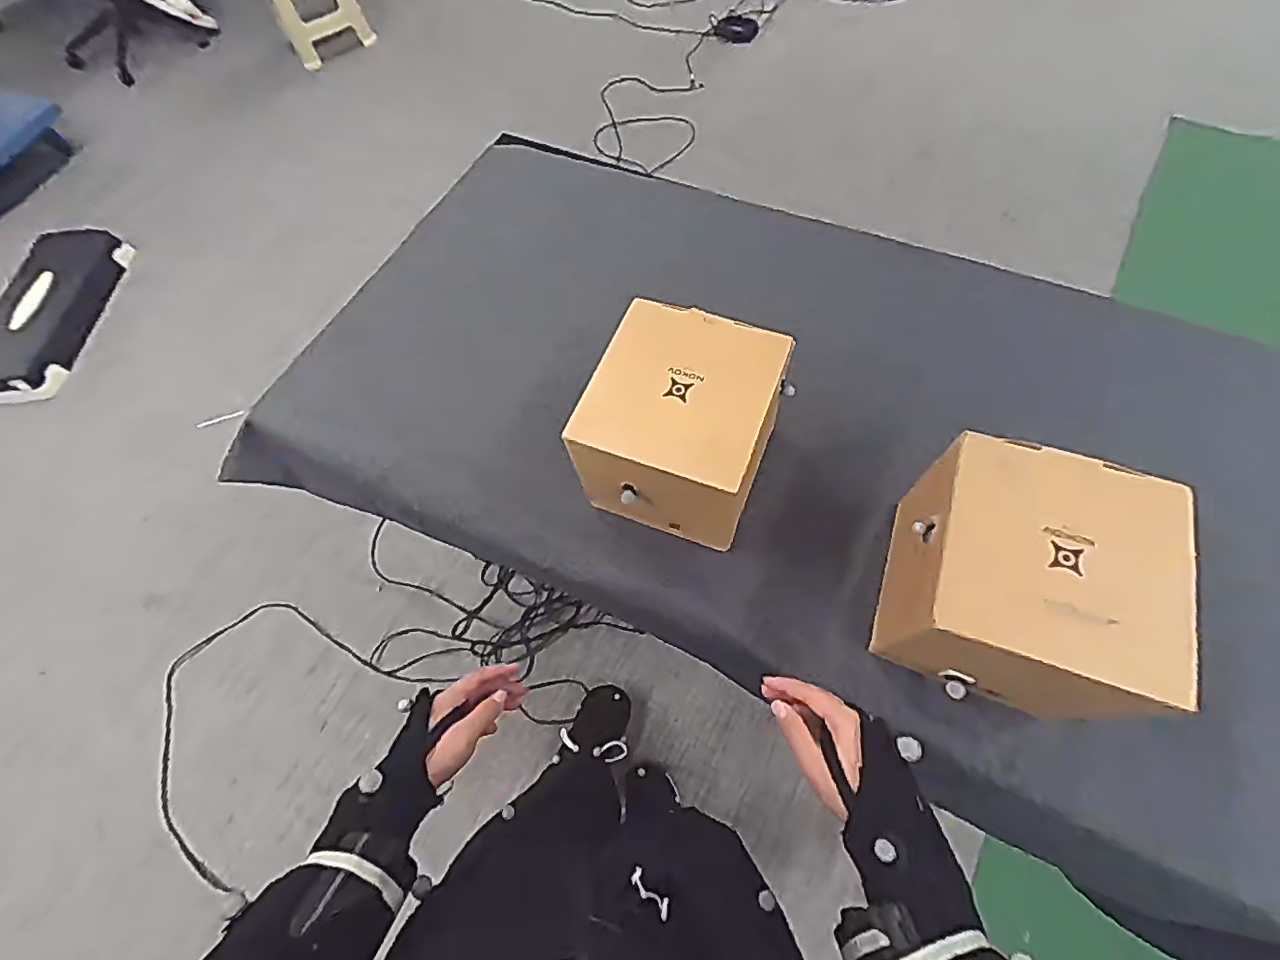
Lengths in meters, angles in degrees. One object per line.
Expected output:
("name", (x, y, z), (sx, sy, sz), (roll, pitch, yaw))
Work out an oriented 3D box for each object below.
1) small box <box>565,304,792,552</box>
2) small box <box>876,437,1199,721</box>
("small box", (0.045, -0.045, 0.565), (0.168, 0.176, 0.179), (18, 67, 13))
("small box", (0.326, 0.094, 0.476), (0.168, 0.176, 0.179), (16, 67, 13))
